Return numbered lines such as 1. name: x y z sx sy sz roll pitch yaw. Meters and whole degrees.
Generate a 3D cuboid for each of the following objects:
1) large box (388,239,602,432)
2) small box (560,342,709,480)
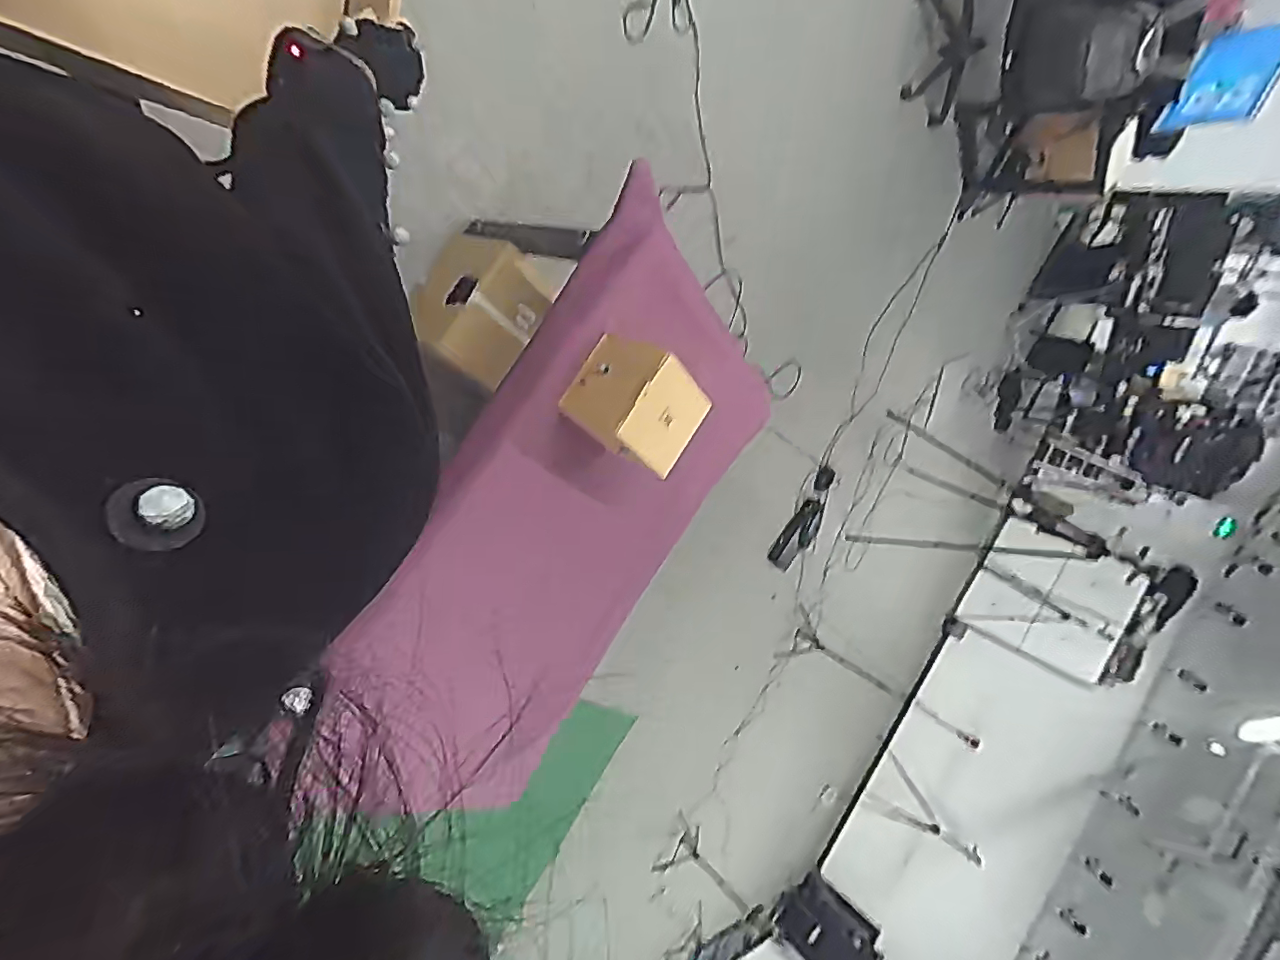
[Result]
1. large box: -0.385 -0.389 1.479 0.408 0.320 0.320 38 82 -48
2. small box: -0.010 -0.130 0.991 0.168 0.176 0.179 -57 140 -5
